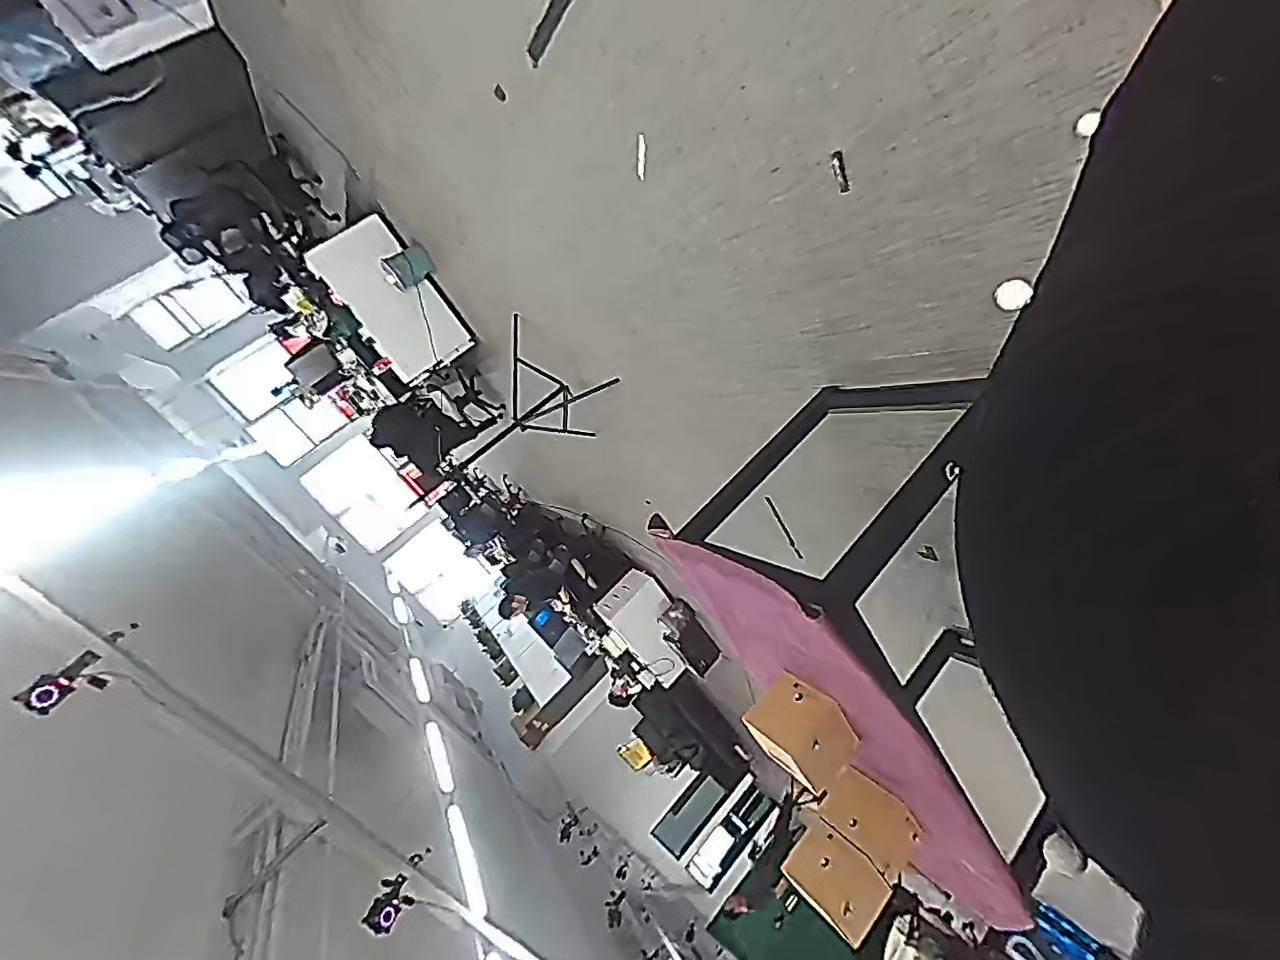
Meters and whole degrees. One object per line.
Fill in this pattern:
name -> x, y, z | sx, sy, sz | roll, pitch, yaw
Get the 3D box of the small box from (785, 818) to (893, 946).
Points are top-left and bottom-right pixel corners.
small box -> 0.517, 1.030, 1.402 | 0.179, 0.176, 0.168 | 55, 161, -21

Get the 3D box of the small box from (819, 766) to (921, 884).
small box -> 0.627, 0.922, 1.460 | 0.168, 0.176, 0.179 | 55, 161, -22
